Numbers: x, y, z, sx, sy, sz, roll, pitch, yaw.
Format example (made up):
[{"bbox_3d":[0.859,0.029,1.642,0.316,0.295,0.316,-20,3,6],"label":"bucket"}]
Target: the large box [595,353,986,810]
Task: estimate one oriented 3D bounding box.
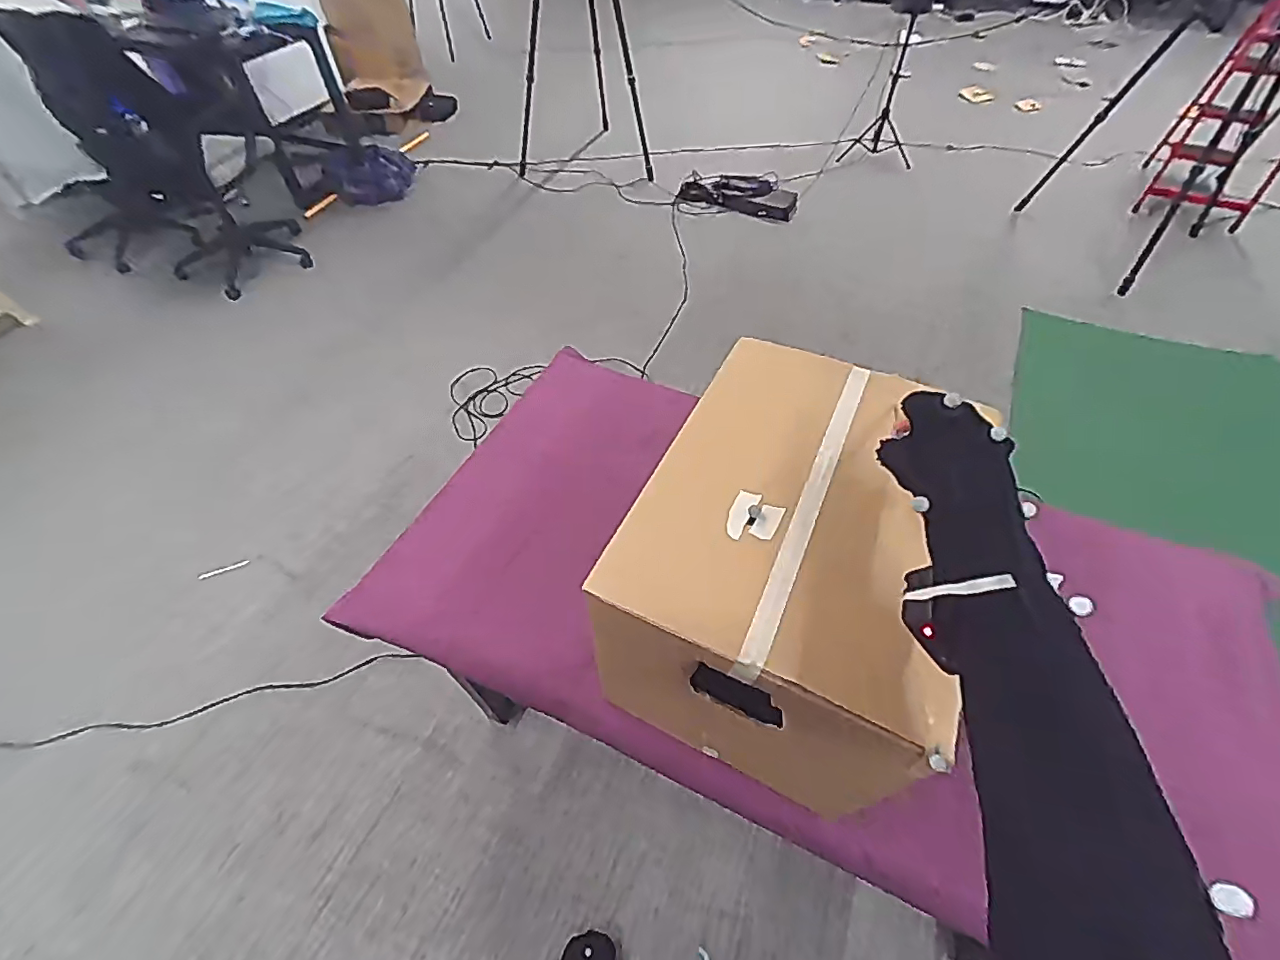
[{"bbox_3d":[0.178,0.115,0.678,0.320,0.320,0.408,22,55,17],"label":"large box"}]
